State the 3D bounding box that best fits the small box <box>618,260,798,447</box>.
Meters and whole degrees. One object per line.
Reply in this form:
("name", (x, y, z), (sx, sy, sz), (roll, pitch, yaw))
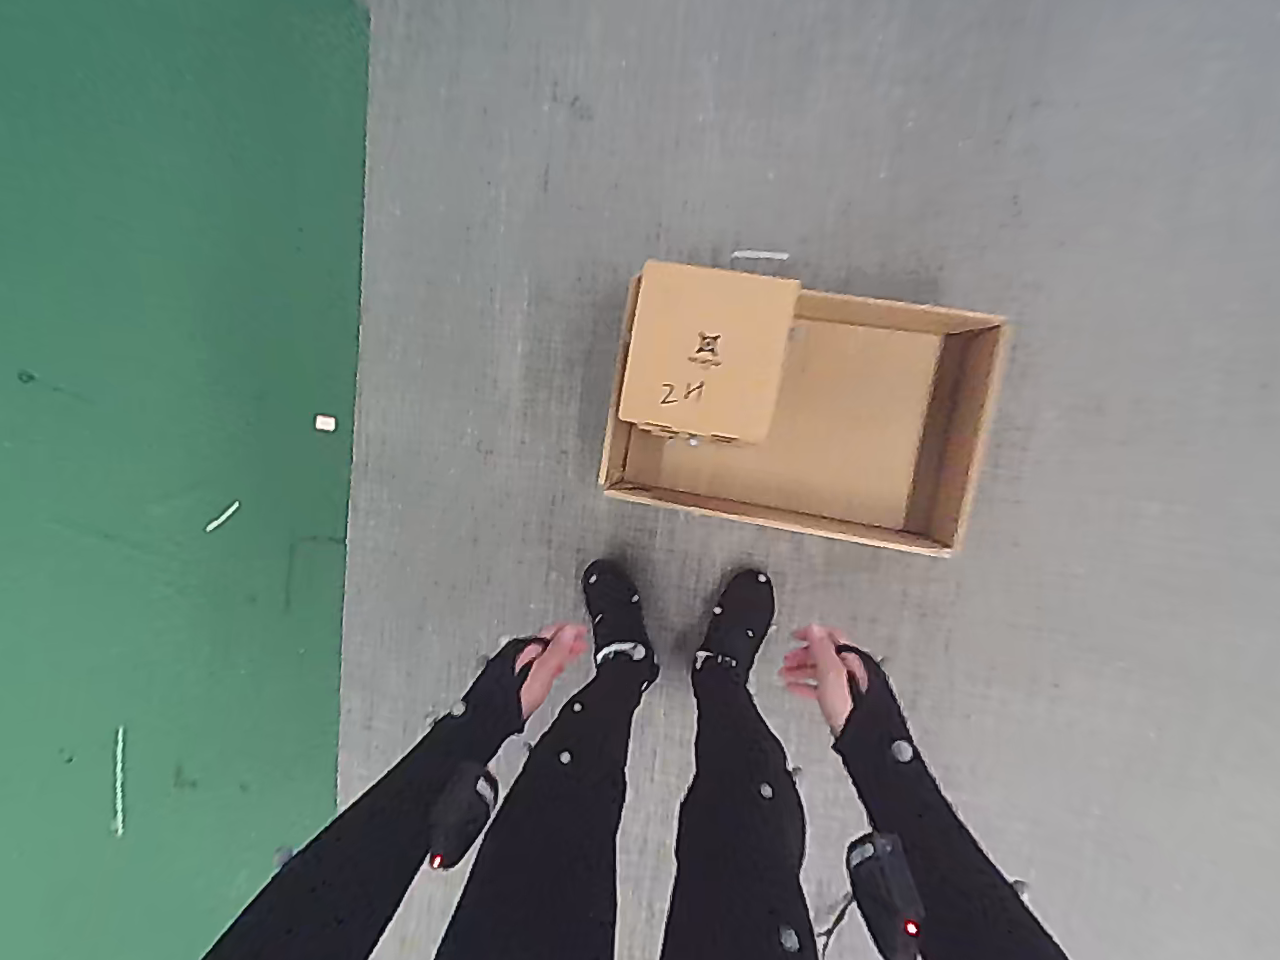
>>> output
("small box", (0.080, -0.140, 0.651), (0.168, 0.176, 0.179), (11, 95, 8))
